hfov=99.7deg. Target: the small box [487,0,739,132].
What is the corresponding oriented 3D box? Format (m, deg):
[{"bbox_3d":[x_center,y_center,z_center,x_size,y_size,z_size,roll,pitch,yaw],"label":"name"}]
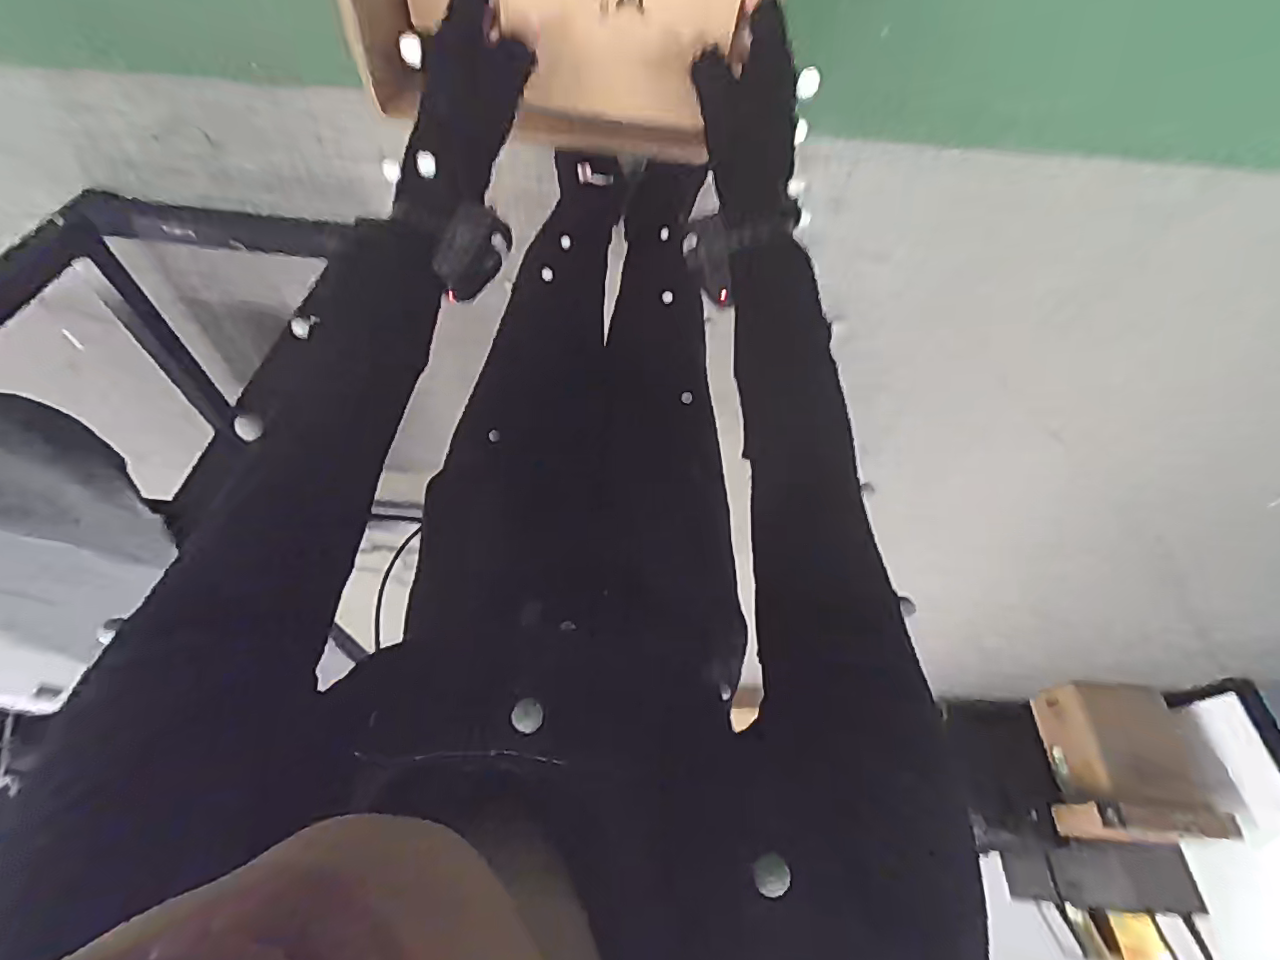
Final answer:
[{"bbox_3d":[-0.020,-0.403,0.411,0.179,0.176,0.168,3,147,-7],"label":"small box"}]
